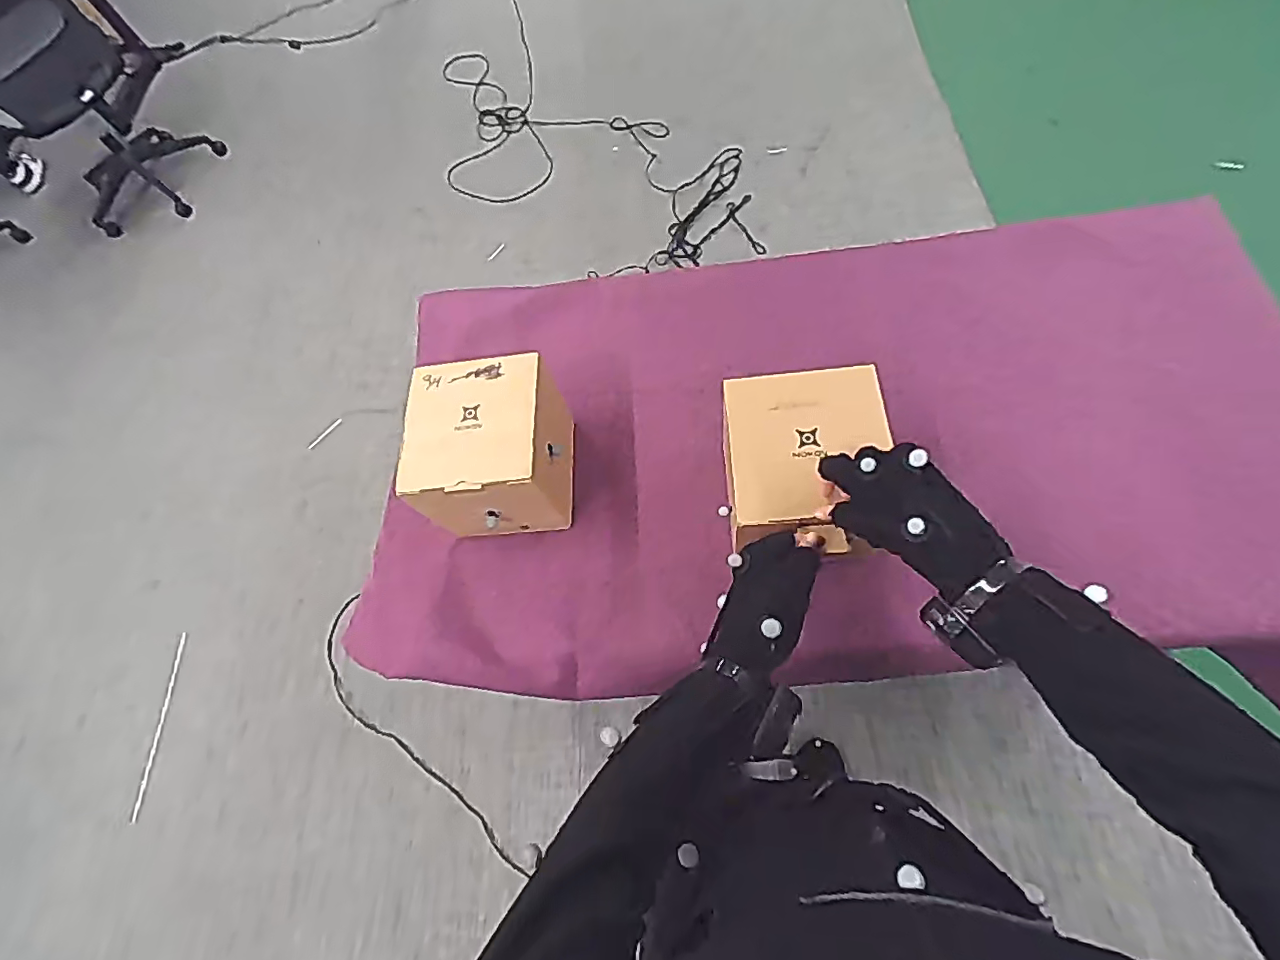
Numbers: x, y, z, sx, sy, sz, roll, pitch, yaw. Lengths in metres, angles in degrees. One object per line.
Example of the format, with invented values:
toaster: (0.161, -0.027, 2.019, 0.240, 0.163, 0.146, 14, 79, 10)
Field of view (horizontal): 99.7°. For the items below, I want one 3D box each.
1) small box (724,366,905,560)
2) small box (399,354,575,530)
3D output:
small box: (0.189, -0.008, 0.636, 0.168, 0.176, 0.179, -4, 66, 7)
small box: (-0.186, -0.038, 0.712, 0.168, 0.176, 0.179, -5, 66, 7)
